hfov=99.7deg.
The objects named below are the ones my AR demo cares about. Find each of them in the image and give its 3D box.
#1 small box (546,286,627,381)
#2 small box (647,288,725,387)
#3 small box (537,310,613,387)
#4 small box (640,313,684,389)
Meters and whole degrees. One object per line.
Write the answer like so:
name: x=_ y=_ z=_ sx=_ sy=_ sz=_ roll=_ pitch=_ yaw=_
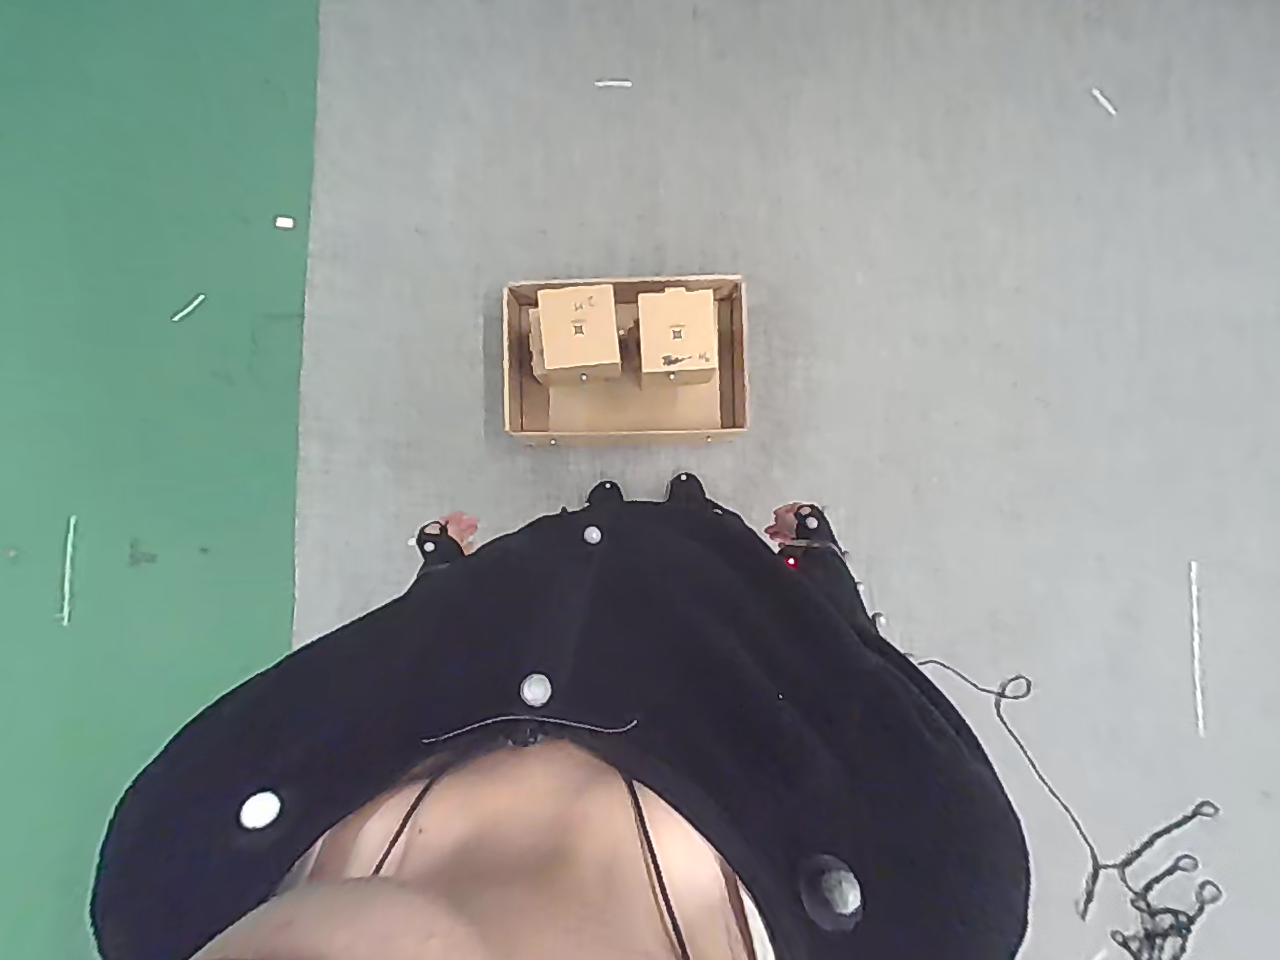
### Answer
small box: x=-0.118 y=-0.332 z=1.257 sx=0.168 sy=0.176 sz=0.179 roll=-6 pitch=90 yaw=-1
small box: x=0.102 y=-0.322 z=1.248 sx=0.168 sy=0.176 sz=0.179 roll=-4 pitch=88 yaw=3
small box: x=-0.164 y=-0.345 z=1.421 sx=0.179 sy=0.176 sz=0.168 roll=-4 pitch=90 yaw=0
small box: x=0.100 y=-0.340 z=1.412 sx=0.179 sy=0.176 sz=0.168 roll=-7 pitch=89 yaw=2
